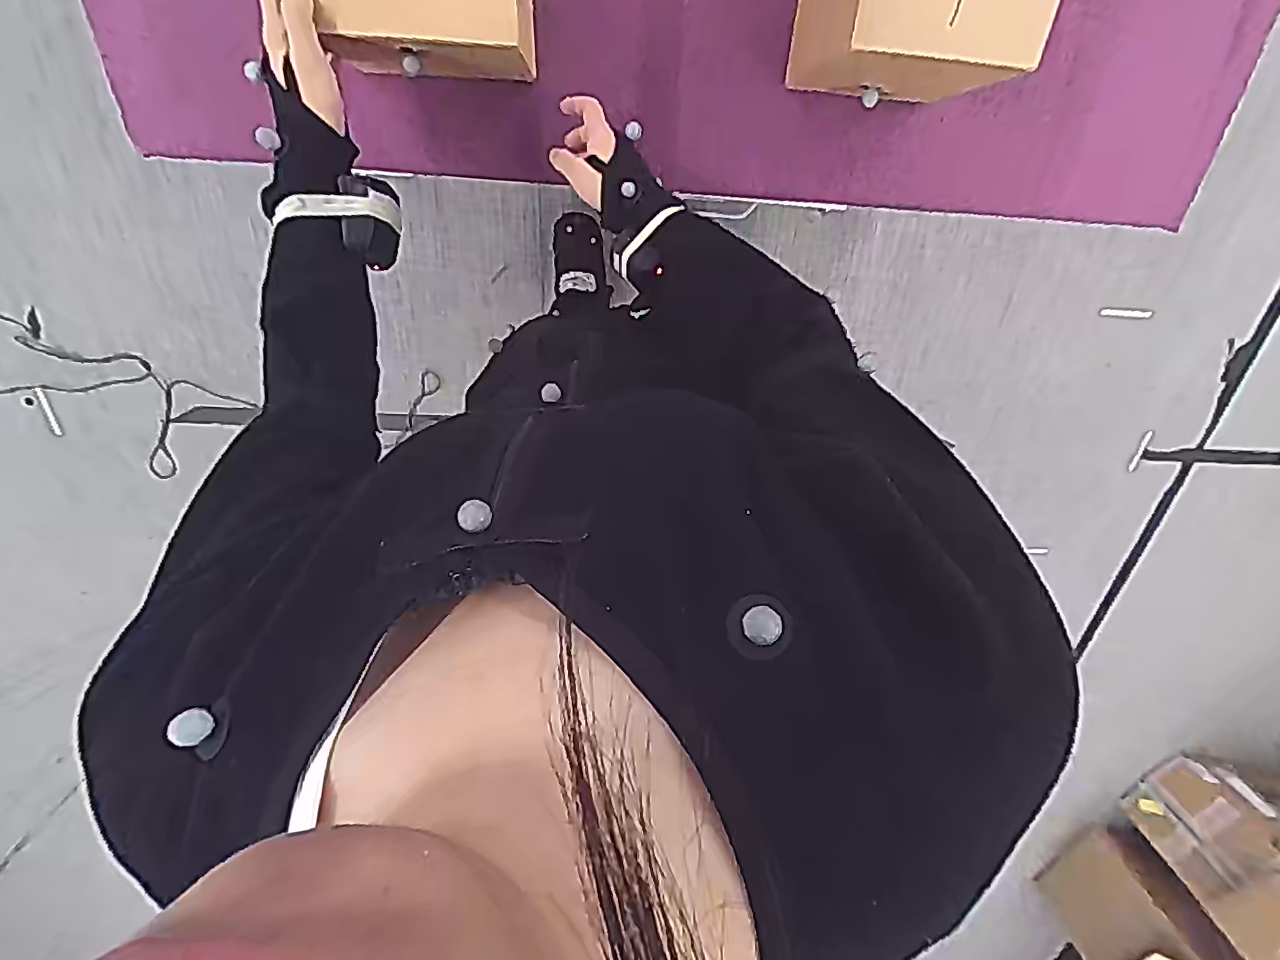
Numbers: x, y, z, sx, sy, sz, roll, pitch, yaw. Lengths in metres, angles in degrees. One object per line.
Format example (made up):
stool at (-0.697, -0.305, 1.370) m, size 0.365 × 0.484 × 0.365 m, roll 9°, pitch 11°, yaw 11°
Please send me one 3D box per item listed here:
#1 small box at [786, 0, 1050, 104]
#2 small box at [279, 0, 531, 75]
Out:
small box at (0.244, -0.460, 0.479) m, size 0.168 × 0.176 × 0.179 m, roll 2°, pitch 117°, yaw -6°
small box at (-0.185, -0.449, 0.446) m, size 0.179 × 0.176 × 0.168 m, roll 0°, pitch 120°, yaw -4°
